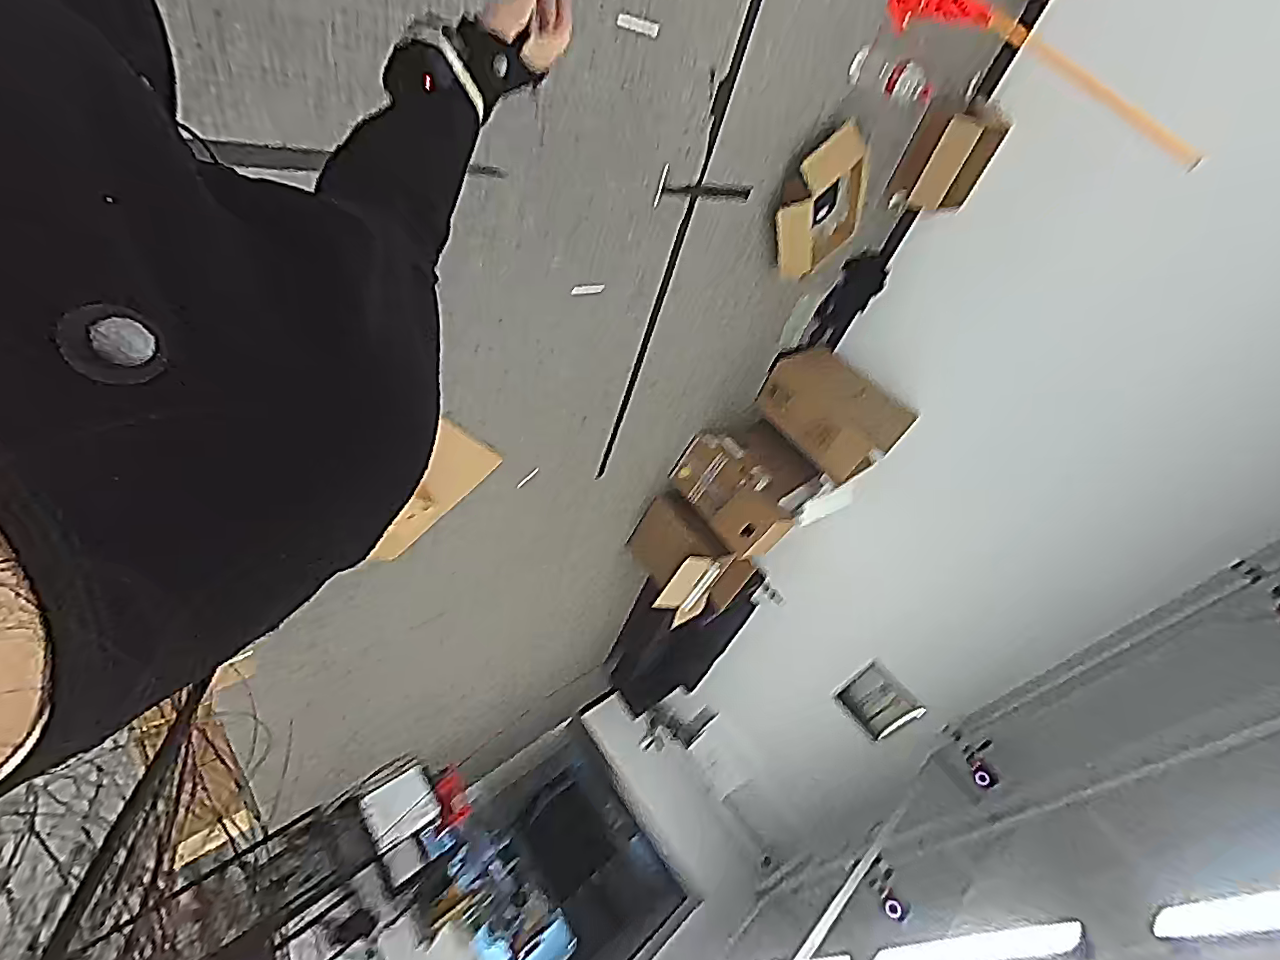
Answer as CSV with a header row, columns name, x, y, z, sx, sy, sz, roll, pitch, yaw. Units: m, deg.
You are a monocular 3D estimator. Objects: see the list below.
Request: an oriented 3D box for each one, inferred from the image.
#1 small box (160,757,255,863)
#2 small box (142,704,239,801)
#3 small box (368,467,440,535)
name,x,y,z,sx,sy,sz,roll,pitch,yaw
small box,-1.187,0.901,1.489,0.168,0.176,0.179,-19,147,-42
small box,-1.286,0.782,1.547,0.179,0.176,0.168,-21,149,-41
small box,-0.913,0.080,2.074,0.179,0.176,0.168,-42,155,4
